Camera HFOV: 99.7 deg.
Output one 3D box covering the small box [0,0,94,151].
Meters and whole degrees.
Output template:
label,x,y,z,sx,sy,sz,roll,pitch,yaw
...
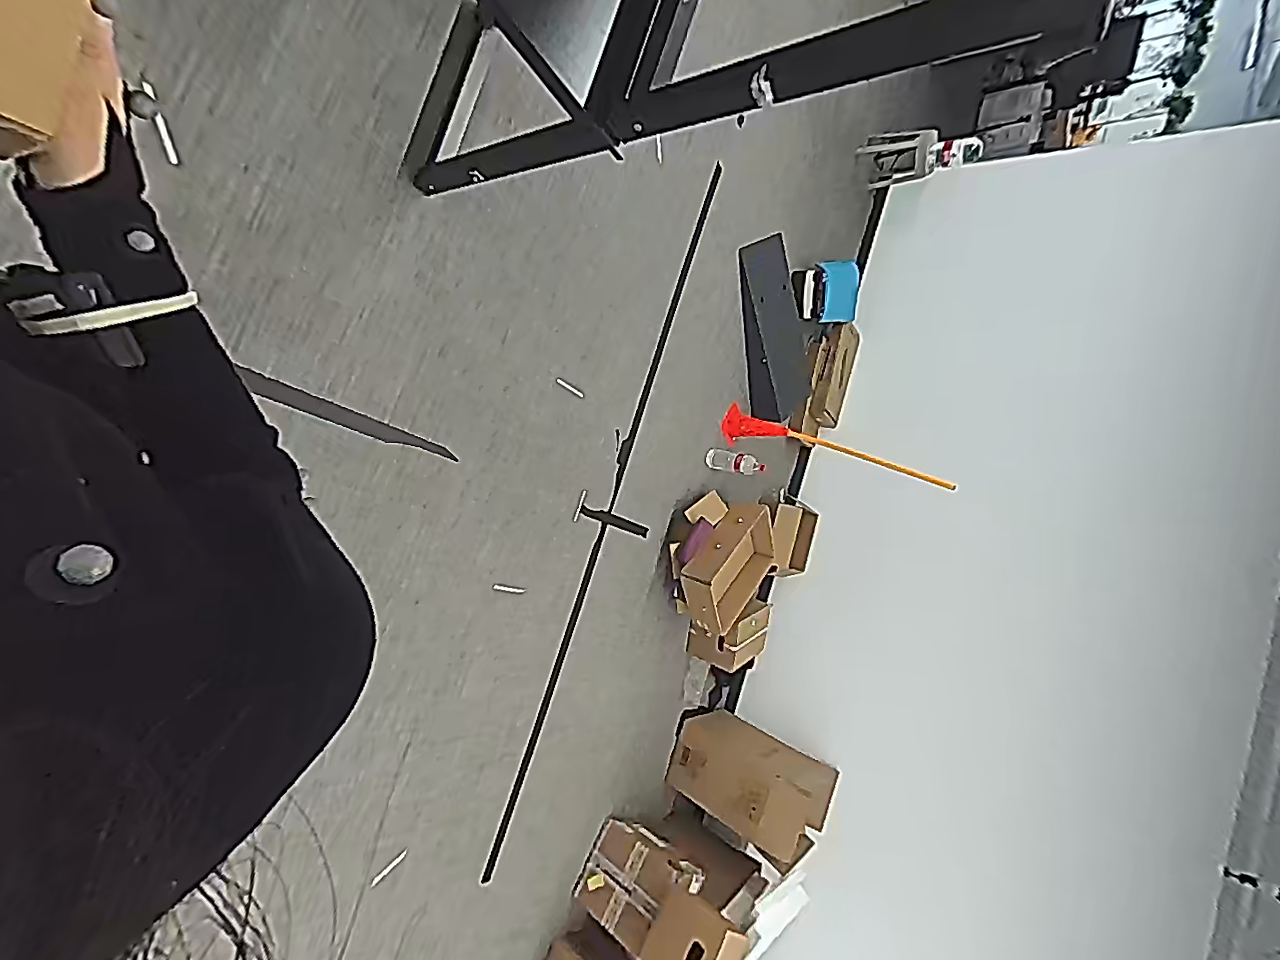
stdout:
label,x,y,z,sx,sy,sz,roll,pitch,yaw
small box,-0.318,-0.250,0.195,0.168,0.176,0.179,13,95,-57
